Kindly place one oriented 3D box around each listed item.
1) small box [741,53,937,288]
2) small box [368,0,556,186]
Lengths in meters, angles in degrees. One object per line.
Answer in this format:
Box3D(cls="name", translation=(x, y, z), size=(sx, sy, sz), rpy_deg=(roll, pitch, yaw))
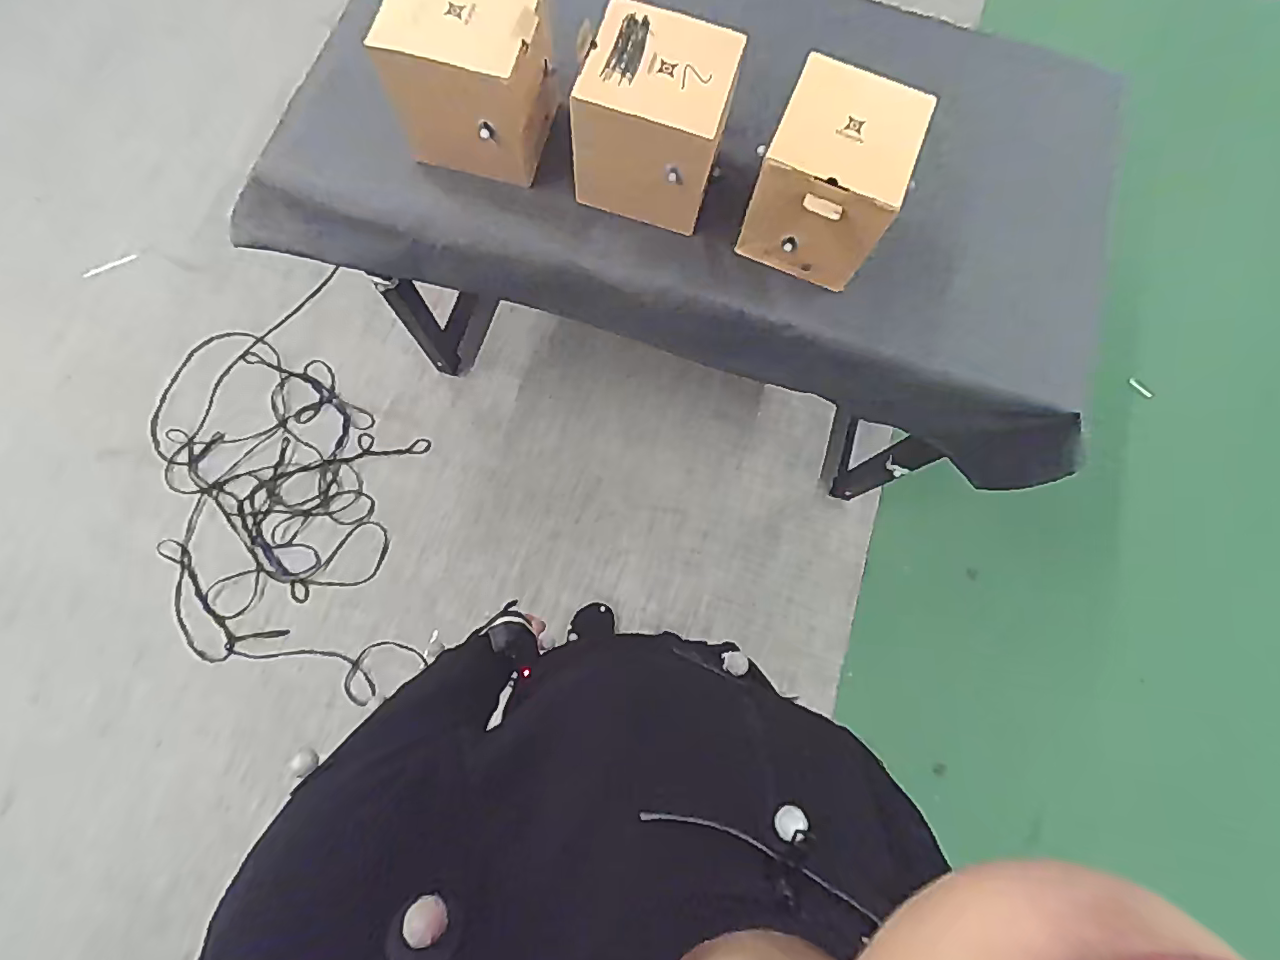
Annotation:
Box3D(cls="small box", translation=(0.248, -0.393, 0.712), size=(0.168, 0.176, 0.179), rpy_deg=(22, 77, 2))
Box3D(cls="small box", translation=(-0.217, -0.529, 0.719), size=(0.179, 0.176, 0.168), rpy_deg=(13, 75, 0))
